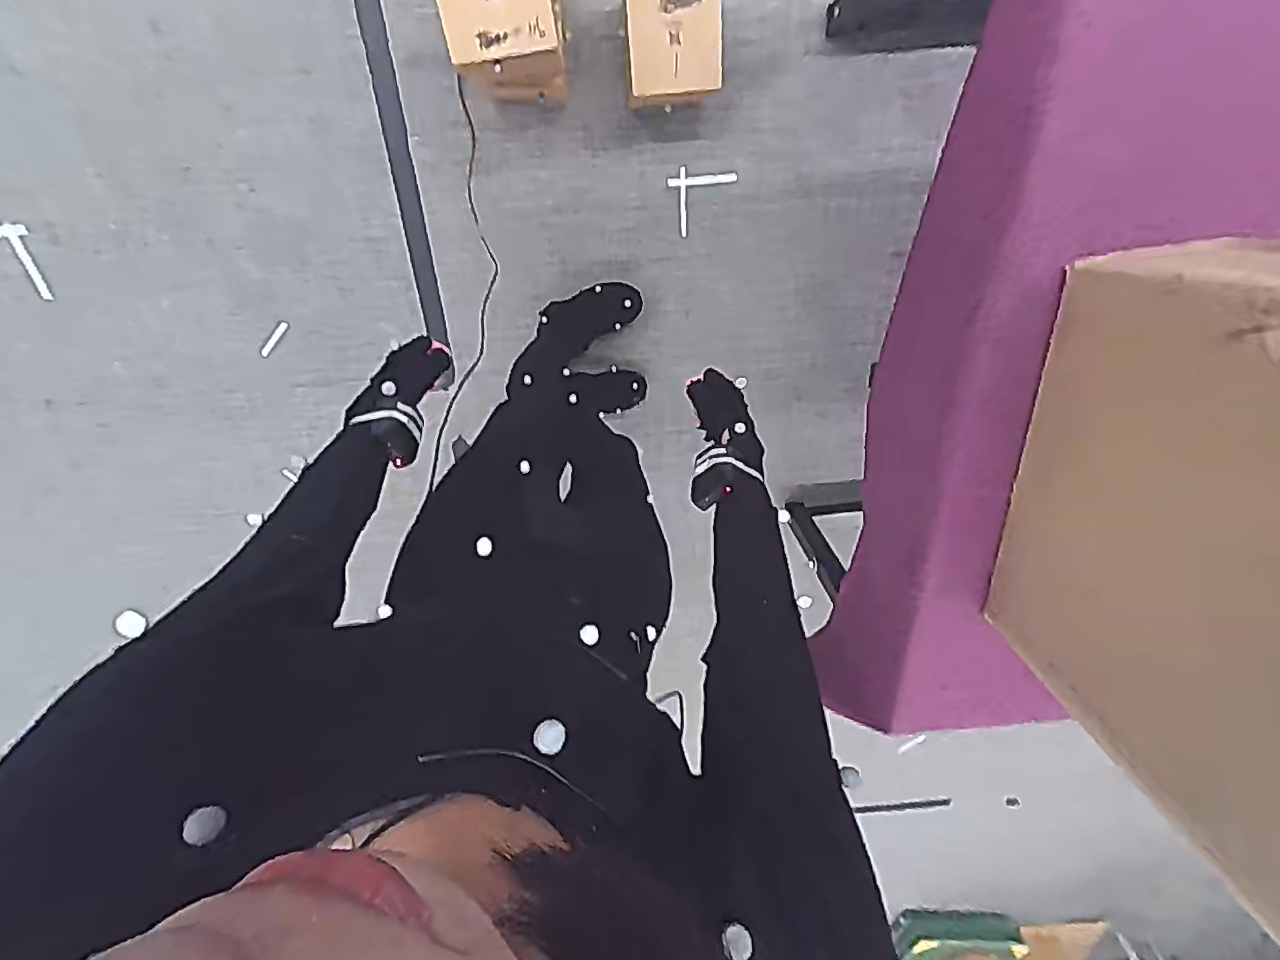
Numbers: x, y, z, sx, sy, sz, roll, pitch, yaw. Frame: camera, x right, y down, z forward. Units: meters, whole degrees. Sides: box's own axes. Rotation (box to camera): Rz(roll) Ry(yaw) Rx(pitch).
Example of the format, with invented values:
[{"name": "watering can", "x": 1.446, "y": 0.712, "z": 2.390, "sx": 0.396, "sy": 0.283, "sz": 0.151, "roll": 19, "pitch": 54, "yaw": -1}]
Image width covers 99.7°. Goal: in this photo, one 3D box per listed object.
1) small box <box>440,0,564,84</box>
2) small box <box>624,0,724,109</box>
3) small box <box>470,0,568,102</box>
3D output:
[{"name": "small box", "x": -0.216, "y": -0.748, "z": 0.840, "sx": 0.168, "sy": 0.176, "sz": 0.179, "roll": -9, "pitch": 117, "yaw": 0}, {"name": "small box", "x": 0.059, "y": -0.813, "z": 1.006, "sx": 0.168, "sy": 0.176, "sz": 0.179, "roll": -5, "pitch": 118, "yaw": -1}, {"name": "small box", "x": -0.220, "y": -0.813, "z": 0.991, "sx": 0.168, "sy": 0.176, "sz": 0.179, "roll": 0, "pitch": 116, "yaw": -5}]
